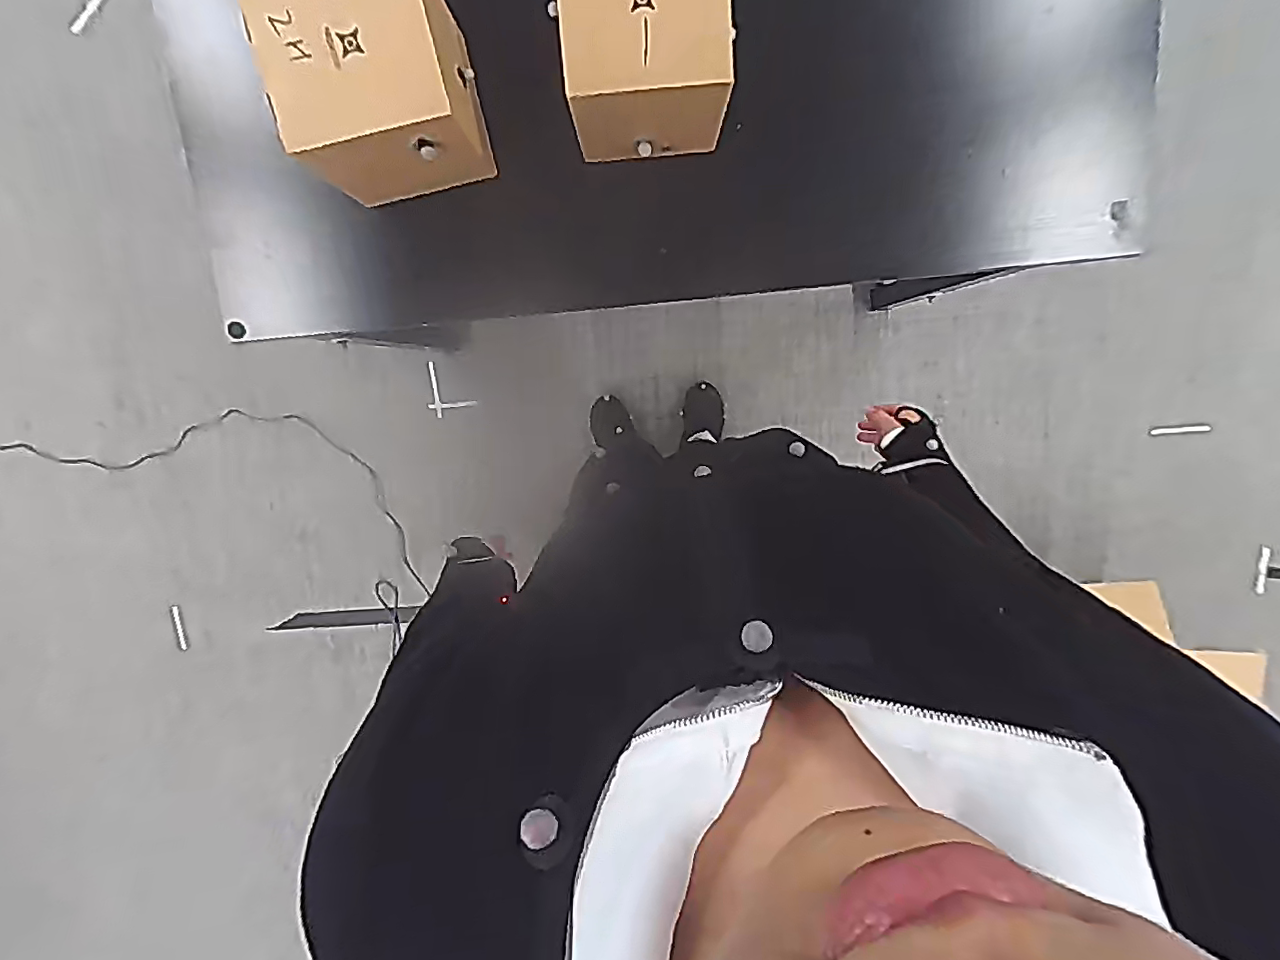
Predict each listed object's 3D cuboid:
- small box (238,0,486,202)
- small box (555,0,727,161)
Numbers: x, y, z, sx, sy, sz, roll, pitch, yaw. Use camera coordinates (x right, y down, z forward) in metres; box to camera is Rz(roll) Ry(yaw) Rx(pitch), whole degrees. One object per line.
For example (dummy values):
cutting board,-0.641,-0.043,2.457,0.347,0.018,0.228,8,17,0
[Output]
small box,-0.286,-0.436,0.602,0.179,0.176,0.168,-12,100,4
small box,0.000,-0.480,0.590,0.168,0.176,0.179,-4,102,2
